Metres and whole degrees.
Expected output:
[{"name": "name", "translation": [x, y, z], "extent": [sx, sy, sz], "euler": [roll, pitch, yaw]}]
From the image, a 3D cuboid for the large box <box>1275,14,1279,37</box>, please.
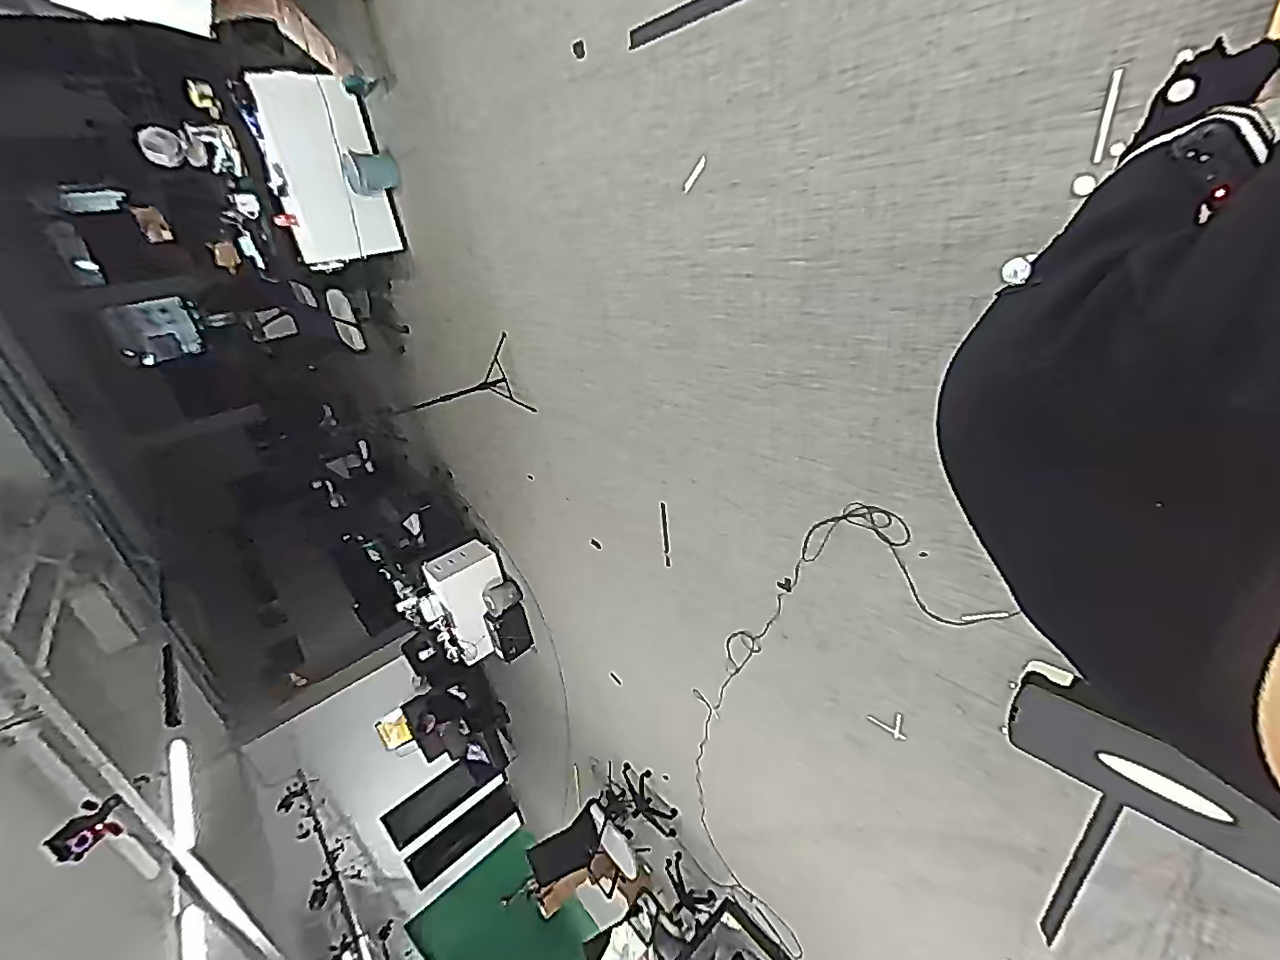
[{"name": "large box", "translation": [1.027, -0.712, 0.570], "extent": [0.408, 0.320, 0.320], "euler": [20, 129, 44]}]
